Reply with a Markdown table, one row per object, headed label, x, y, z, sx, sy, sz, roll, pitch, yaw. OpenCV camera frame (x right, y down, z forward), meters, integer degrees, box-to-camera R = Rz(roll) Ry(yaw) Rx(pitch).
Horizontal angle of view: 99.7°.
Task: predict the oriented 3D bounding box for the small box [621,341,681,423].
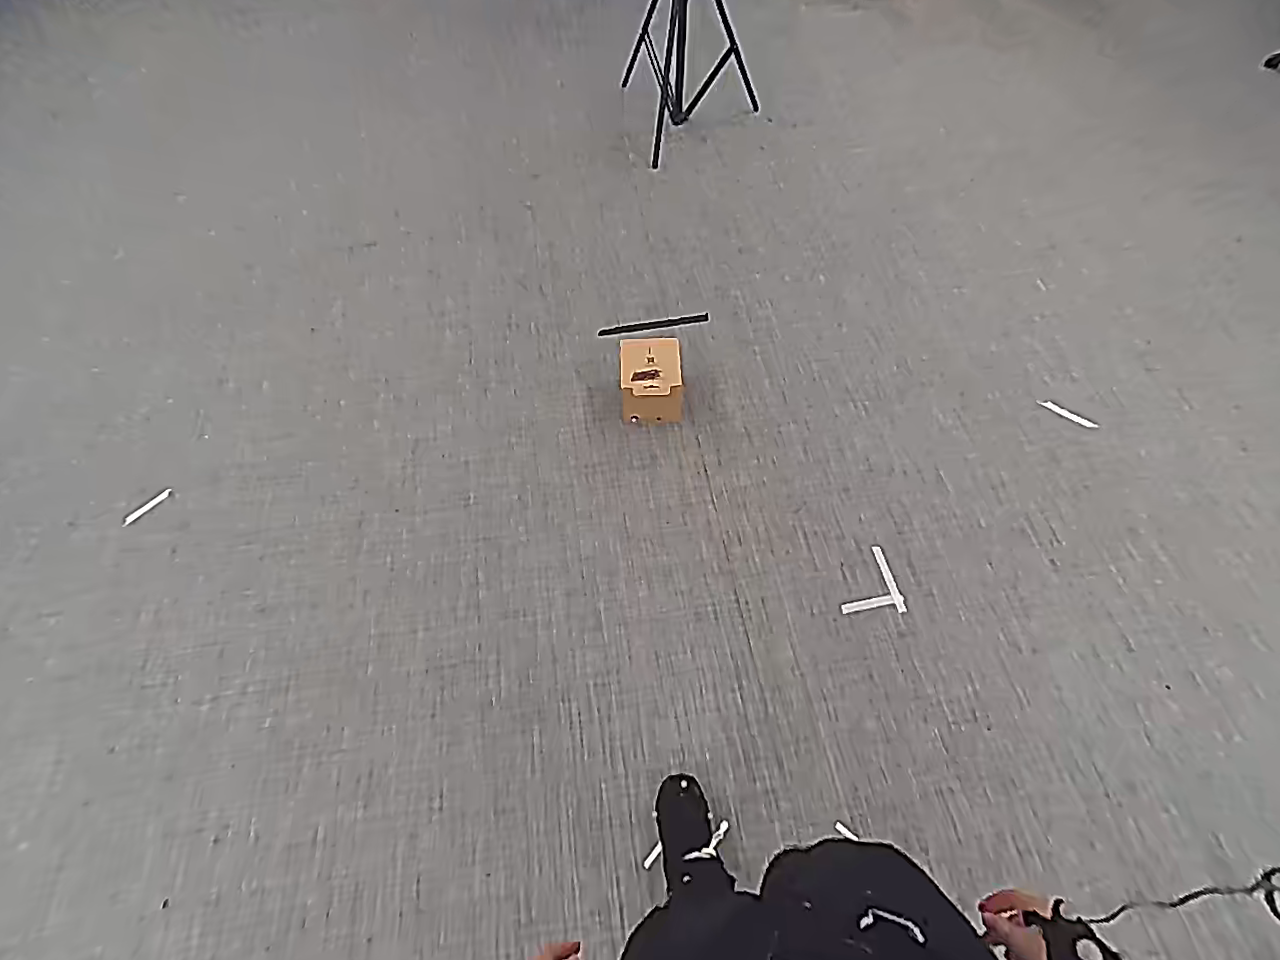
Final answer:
| label | x | y | z | sx | sy | sz | roll | pitch | yaw |
| --- | --- | --- | --- | --- | --- | --- | --- | --- | --- |
| small box | 0.031 | -0.274 | 1.551 | 0.168 | 0.176 | 0.179 | -2 | 61 | 0 |
